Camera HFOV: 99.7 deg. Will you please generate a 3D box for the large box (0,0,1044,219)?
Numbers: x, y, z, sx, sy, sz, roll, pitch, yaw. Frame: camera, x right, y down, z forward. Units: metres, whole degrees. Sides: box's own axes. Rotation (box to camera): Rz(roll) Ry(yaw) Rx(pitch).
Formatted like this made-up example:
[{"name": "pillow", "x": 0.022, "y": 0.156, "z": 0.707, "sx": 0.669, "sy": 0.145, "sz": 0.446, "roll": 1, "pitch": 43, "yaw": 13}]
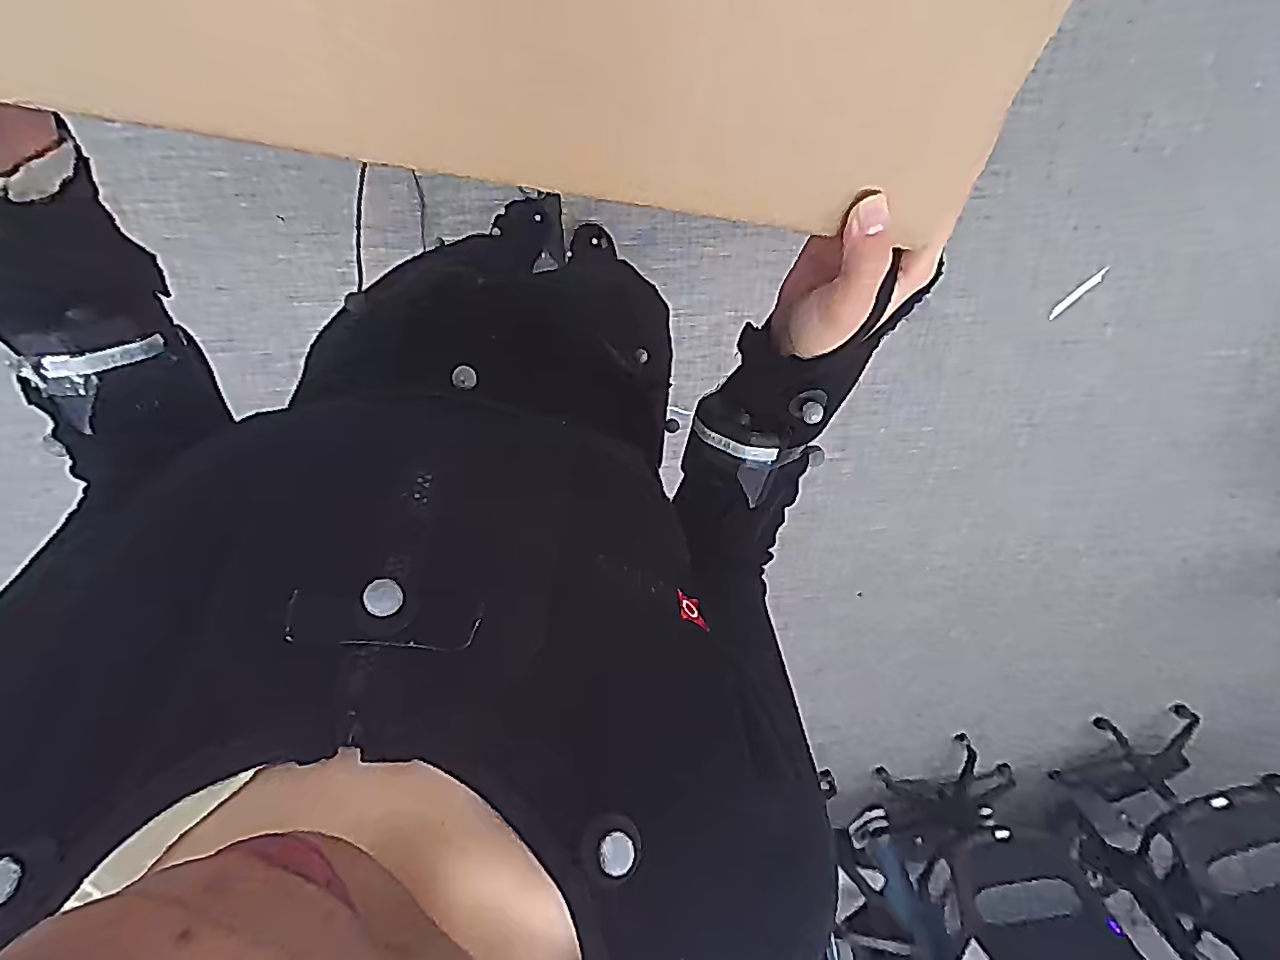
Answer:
[{"name": "large box", "x": -0.053, "y": -0.339, "z": 0.208, "sx": 0.408, "sy": 0.320, "sz": 0.320, "roll": 3, "pitch": 139, "yaw": -9}]
